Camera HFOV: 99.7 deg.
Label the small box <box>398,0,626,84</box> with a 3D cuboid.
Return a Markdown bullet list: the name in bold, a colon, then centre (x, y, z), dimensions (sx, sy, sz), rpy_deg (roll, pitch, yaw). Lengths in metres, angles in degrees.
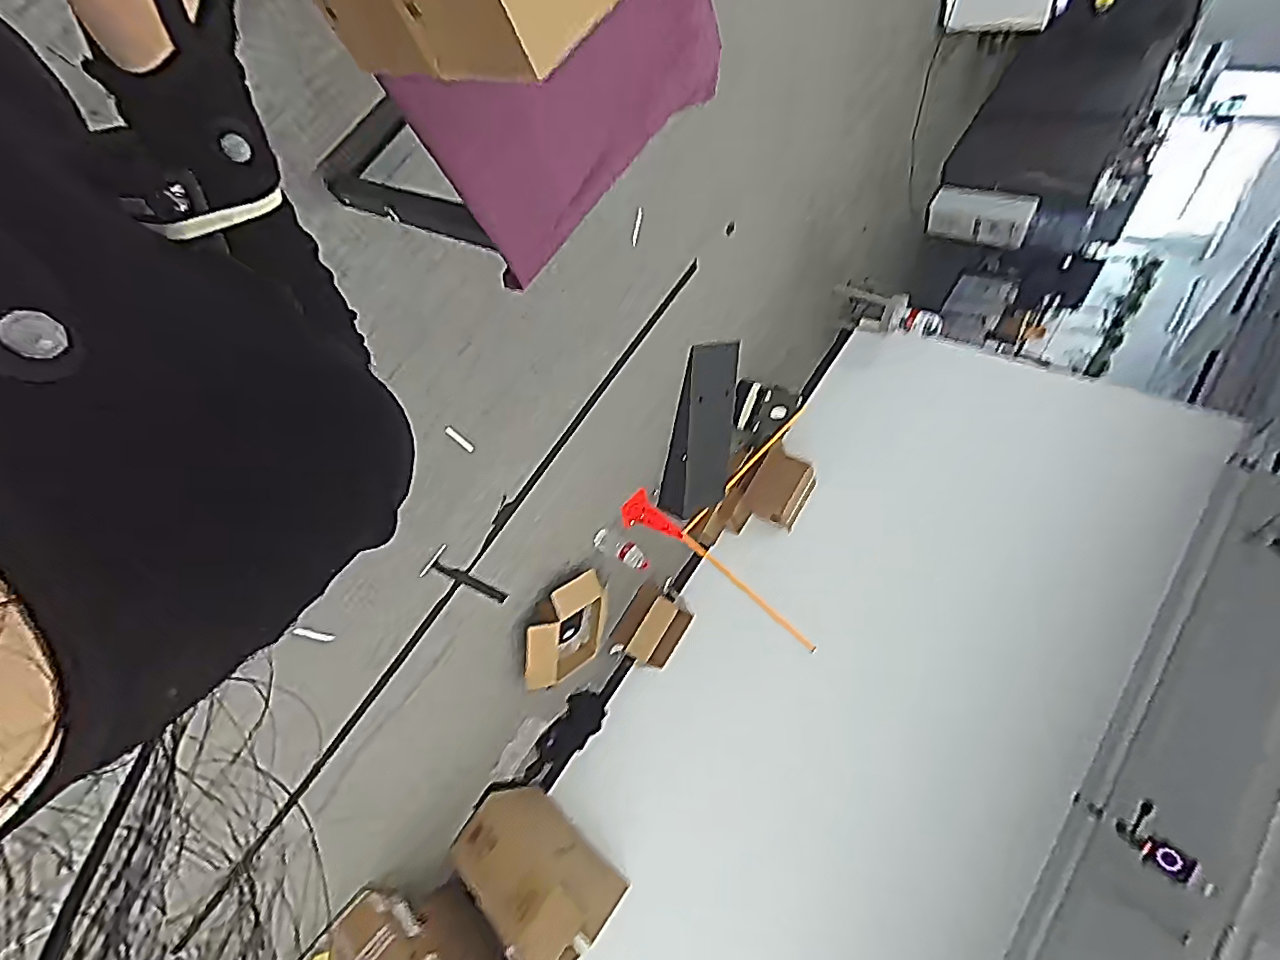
- **small box**: centre (-0.126, -0.485, 0.474), dimensions (0.179, 0.176, 0.168), rpy_deg (-55, 147, -12)

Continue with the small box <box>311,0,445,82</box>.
- **small box**: centre (-0.246, -0.554, 0.559), dimensions (0.179, 0.176, 0.168), rpy_deg (-53, 147, -11)
